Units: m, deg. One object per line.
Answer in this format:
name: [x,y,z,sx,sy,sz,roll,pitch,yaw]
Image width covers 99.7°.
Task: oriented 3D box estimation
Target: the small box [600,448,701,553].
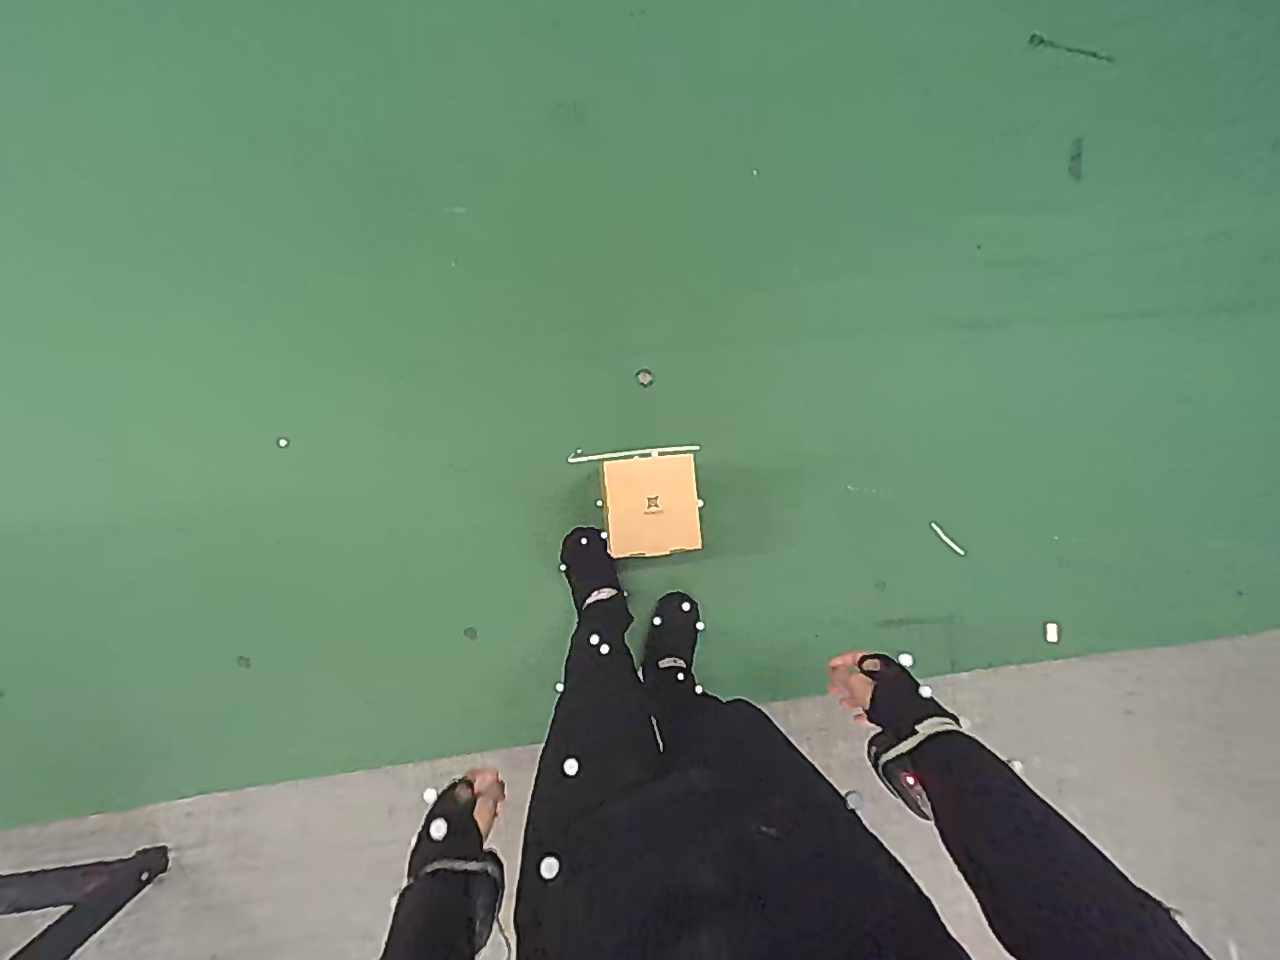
small box: [0.013,0.038,1.044,0.168,0.176,0.179,-6,90,-5]
